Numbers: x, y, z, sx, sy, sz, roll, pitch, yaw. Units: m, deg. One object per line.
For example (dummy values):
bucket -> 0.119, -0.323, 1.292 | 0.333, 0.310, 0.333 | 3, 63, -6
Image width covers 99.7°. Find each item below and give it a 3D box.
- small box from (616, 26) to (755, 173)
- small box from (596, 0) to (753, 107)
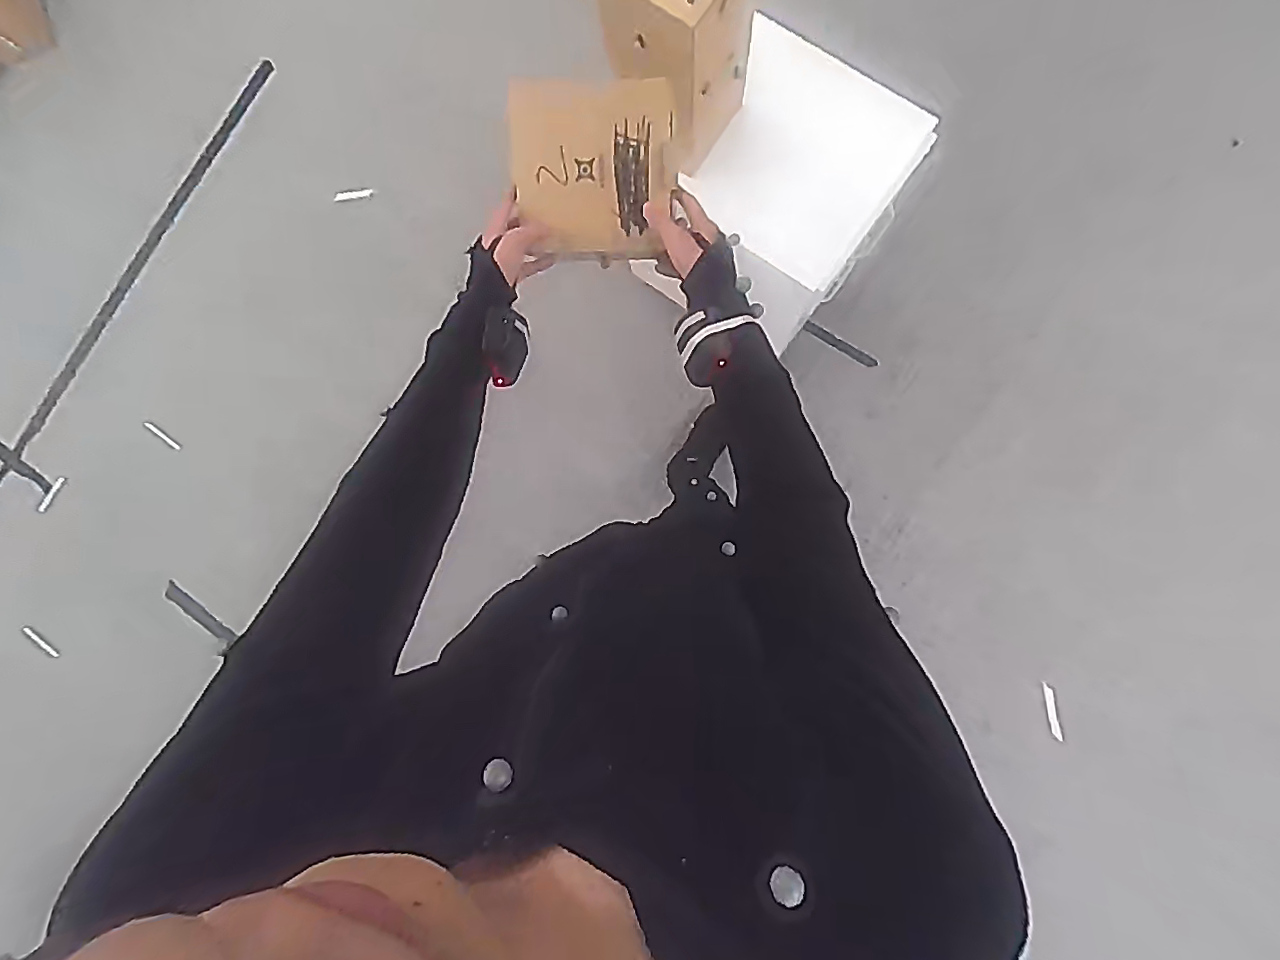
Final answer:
small box -> 0.078, -0.699, 0.958 | 0.168, 0.176, 0.179 | 35, 92, 6
small box -> 0.056, -0.701, 0.795 | 0.179, 0.176, 0.168 | 36, 91, 6
